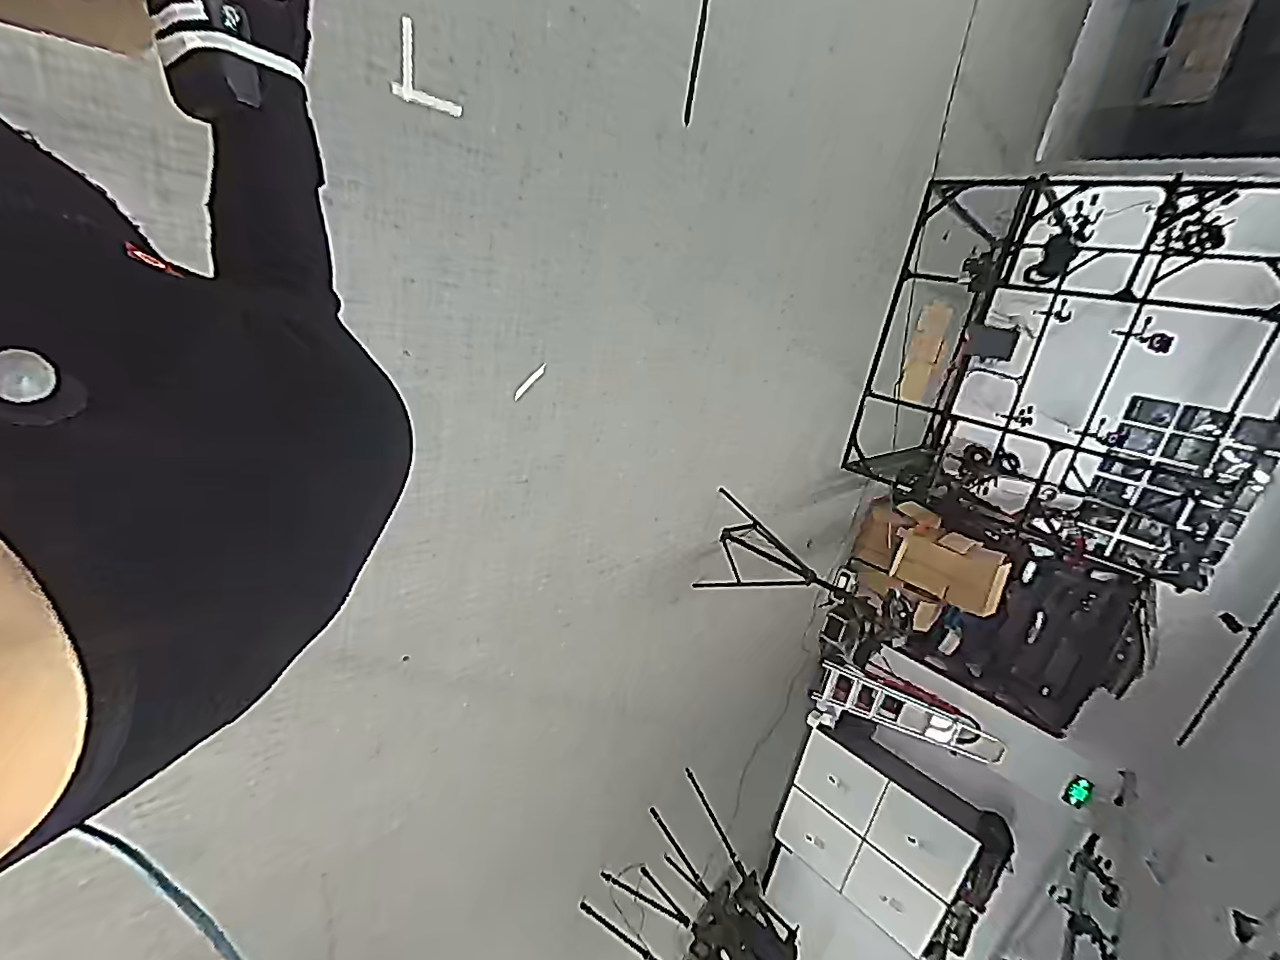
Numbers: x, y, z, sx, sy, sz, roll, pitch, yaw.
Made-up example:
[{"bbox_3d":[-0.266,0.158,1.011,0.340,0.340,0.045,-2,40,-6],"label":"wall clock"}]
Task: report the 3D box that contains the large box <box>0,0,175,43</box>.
[{"bbox_3d":[-0.529,-0.487,0.266,0.408,0.320,0.320,-18,124,-46],"label":"large box"}]
